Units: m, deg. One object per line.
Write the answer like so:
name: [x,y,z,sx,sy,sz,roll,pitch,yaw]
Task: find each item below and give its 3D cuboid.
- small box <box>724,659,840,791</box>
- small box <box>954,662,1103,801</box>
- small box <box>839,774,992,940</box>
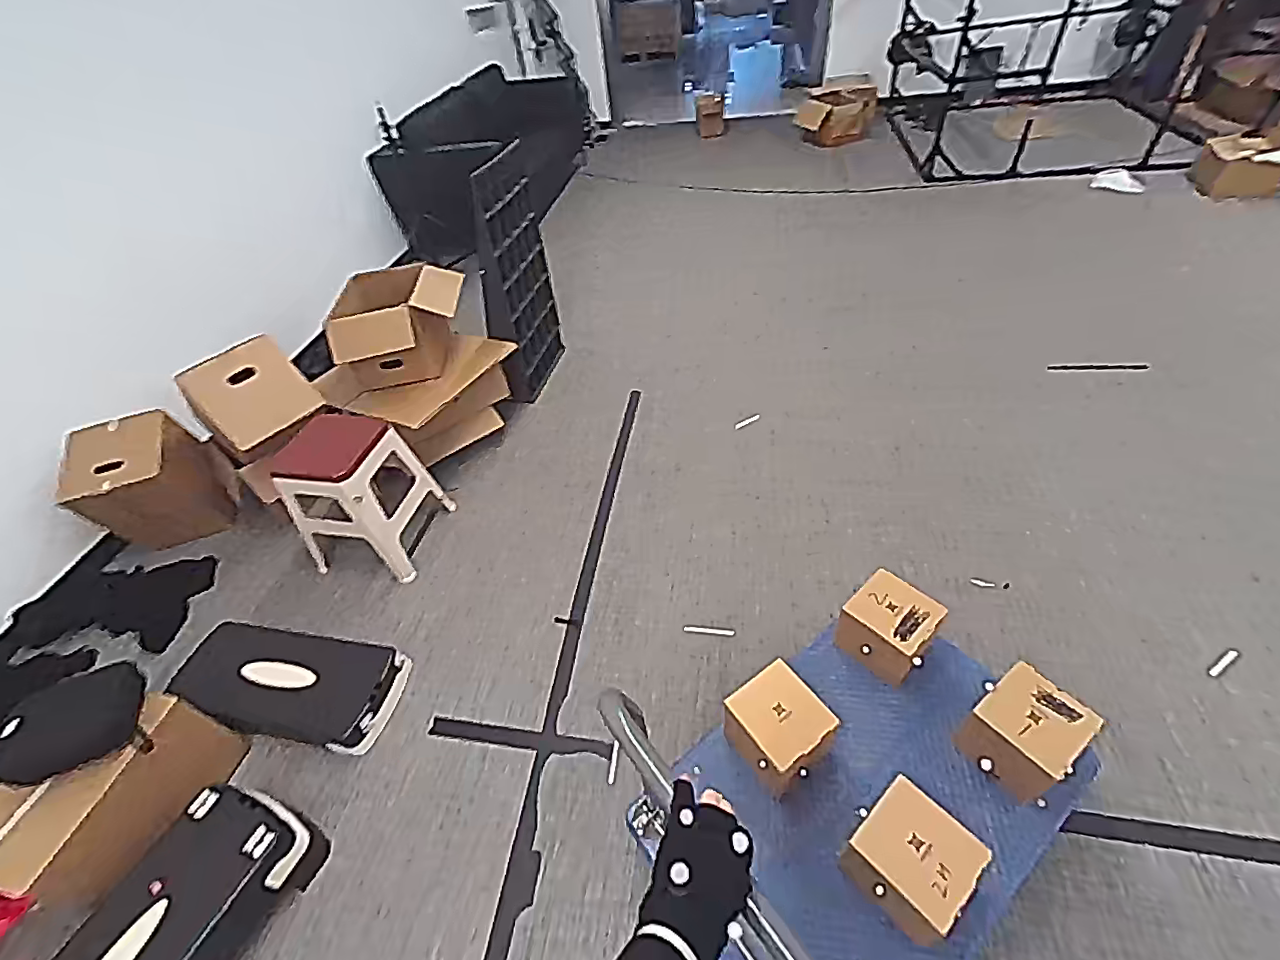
small box: [0.298,0.534,1.176,0.168,0.176,0.179,-28,50,-21]
small box: [0.790,0.521,1.120,0.179,0.176,0.168,-31,49,-20]
small box: [0.490,0.691,0.990,0.168,0.176,0.179,-34,50,-24]
